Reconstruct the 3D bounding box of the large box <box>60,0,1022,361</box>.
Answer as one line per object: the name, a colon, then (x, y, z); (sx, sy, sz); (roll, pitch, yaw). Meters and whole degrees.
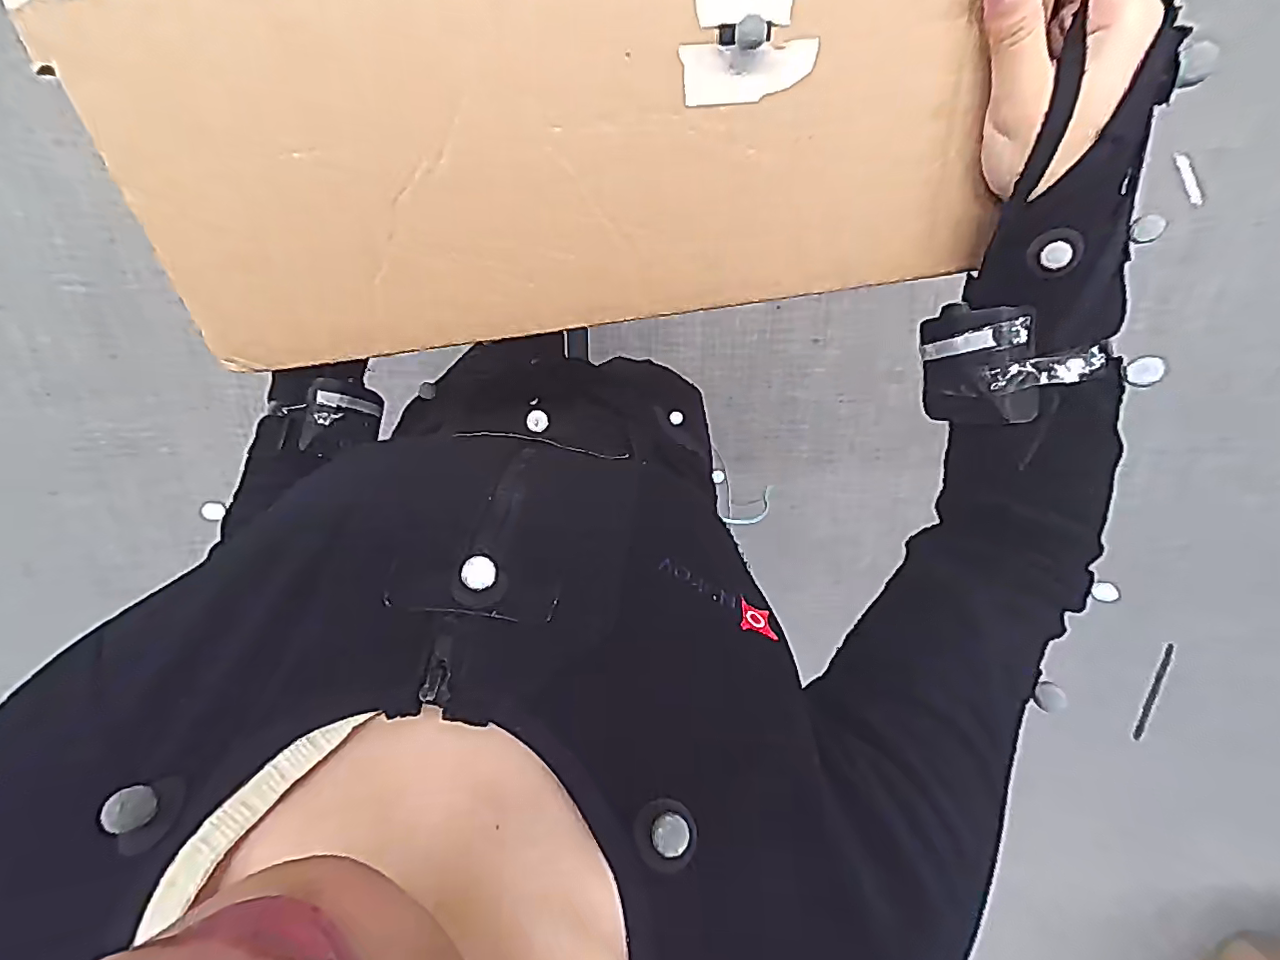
large box: (-0.049, -0.299, 0.339); (0.408, 0.320, 0.320); (-10, 123, -4)
